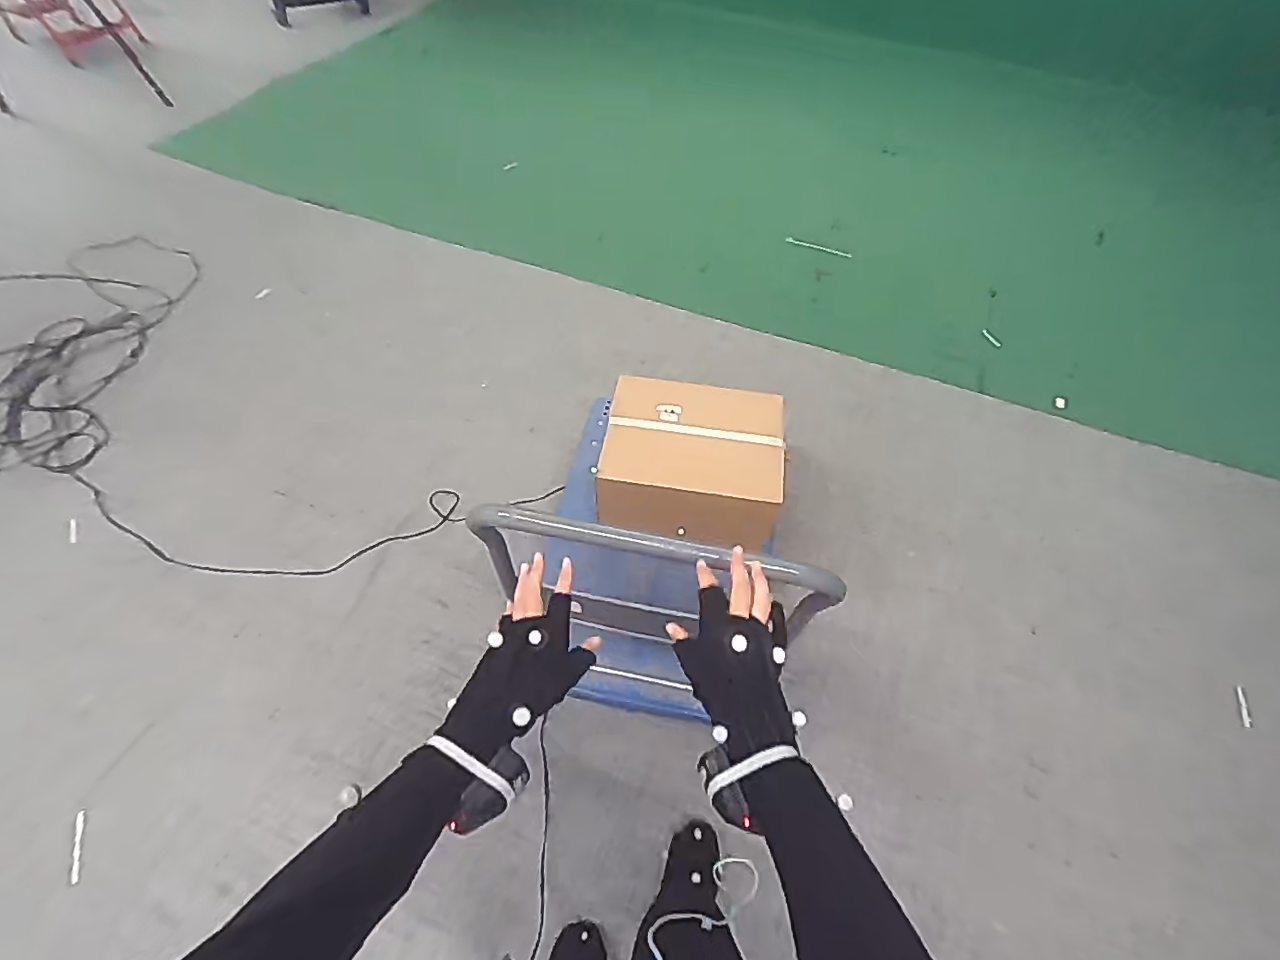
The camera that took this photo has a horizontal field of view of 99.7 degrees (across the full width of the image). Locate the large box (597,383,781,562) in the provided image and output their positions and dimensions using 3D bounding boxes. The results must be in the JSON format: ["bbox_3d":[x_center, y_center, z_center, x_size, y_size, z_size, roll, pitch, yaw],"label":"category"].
[{"bbox_3d":[0.122,-0.011,1.365,0.408,0.320,0.320,7,56,4],"label":"large box"}]
